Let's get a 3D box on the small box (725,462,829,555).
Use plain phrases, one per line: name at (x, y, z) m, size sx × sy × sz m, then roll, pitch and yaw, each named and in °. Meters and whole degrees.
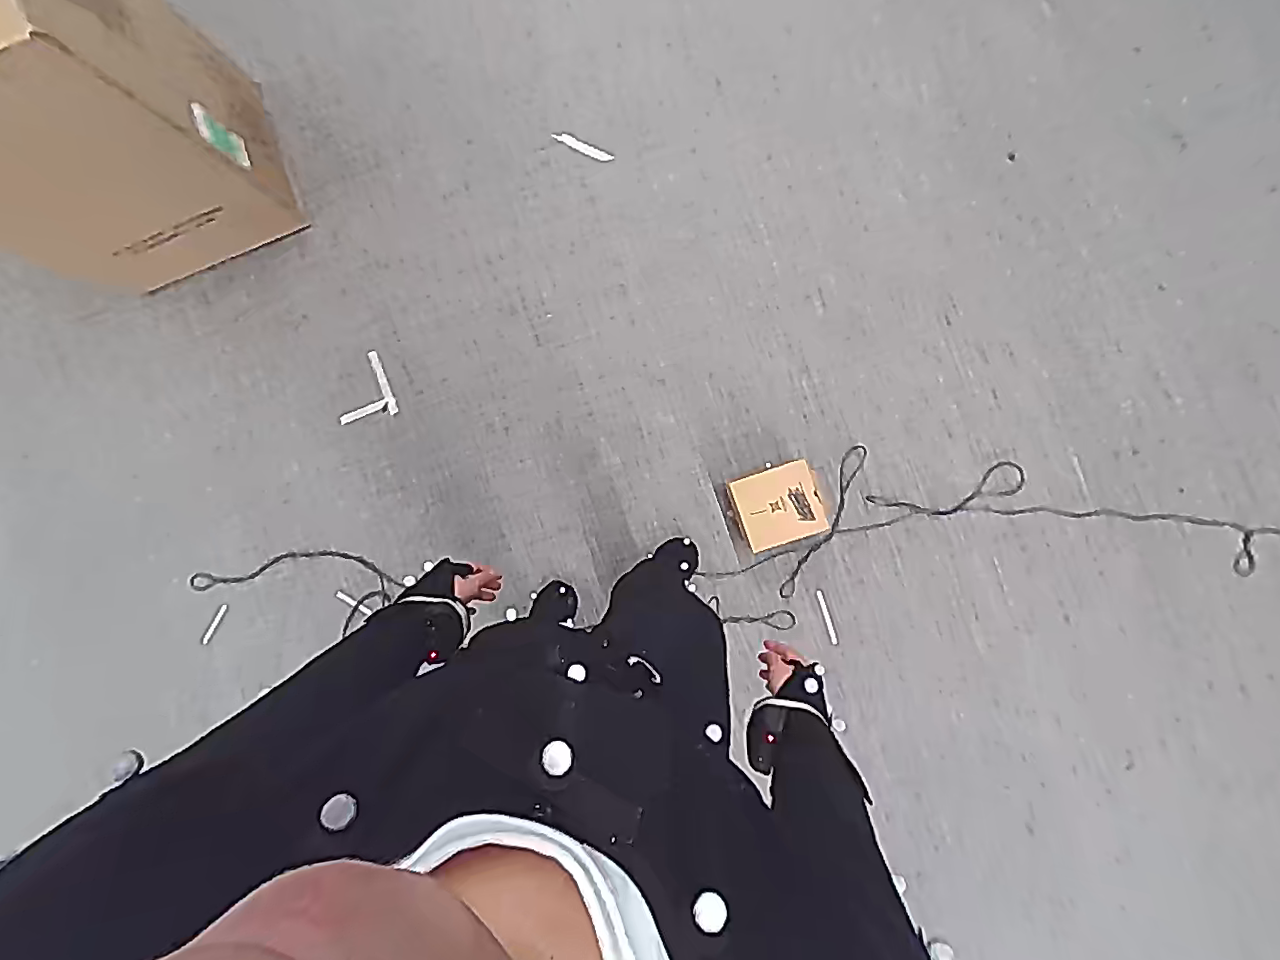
small box at (0.308, 0.061, 1.253) m, size 0.179 × 0.176 × 0.168 m, roll -19°, pitch 89°, yaw 5°
